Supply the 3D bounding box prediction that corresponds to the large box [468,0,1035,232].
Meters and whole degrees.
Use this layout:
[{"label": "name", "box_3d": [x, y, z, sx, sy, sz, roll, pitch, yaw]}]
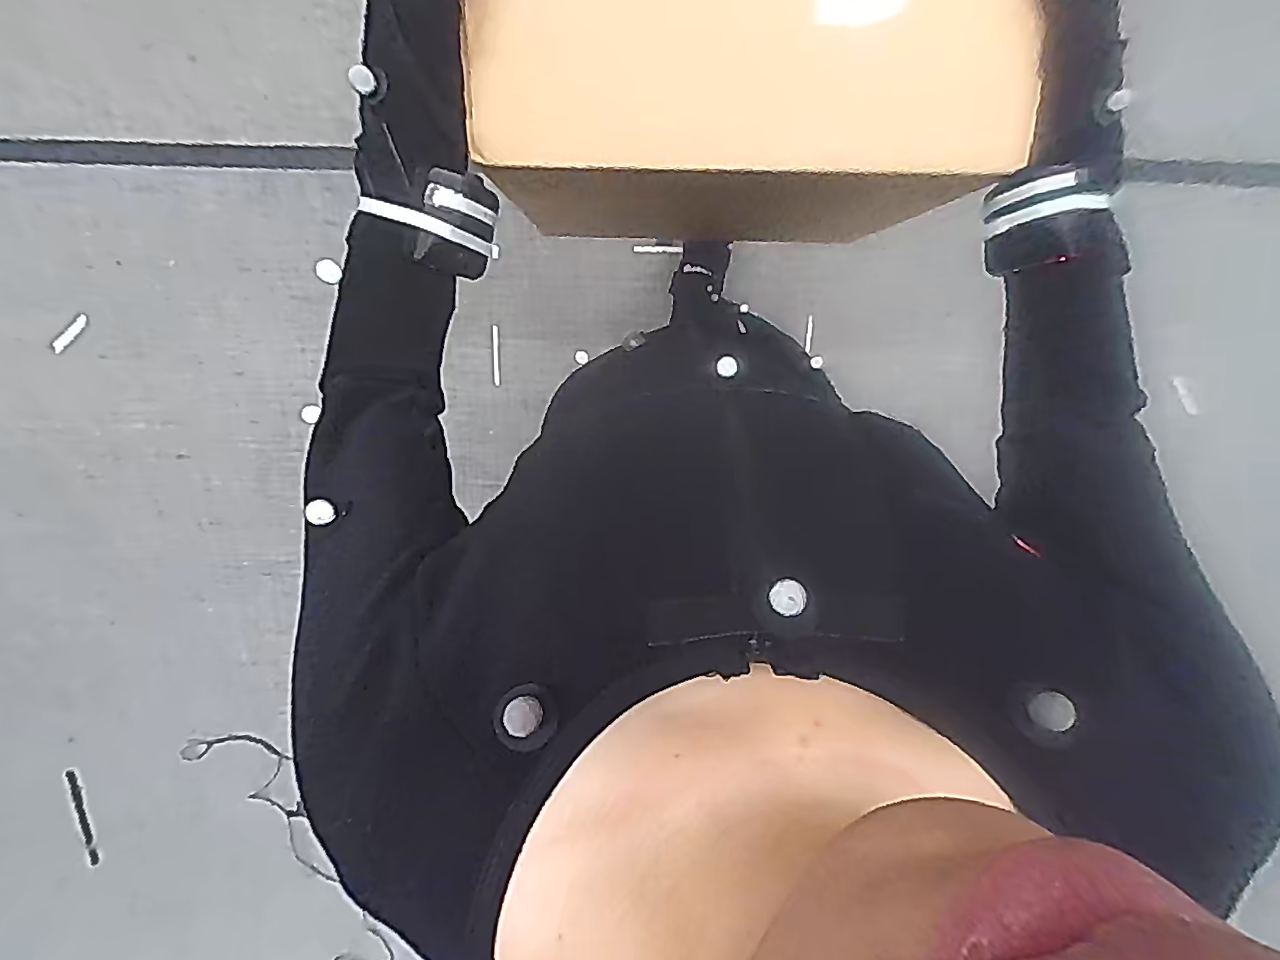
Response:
[{"label": "large box", "box_3d": [0.074, -0.427, 0.504, 0.408, 0.320, 0.320, 0, 105, -1]}]
